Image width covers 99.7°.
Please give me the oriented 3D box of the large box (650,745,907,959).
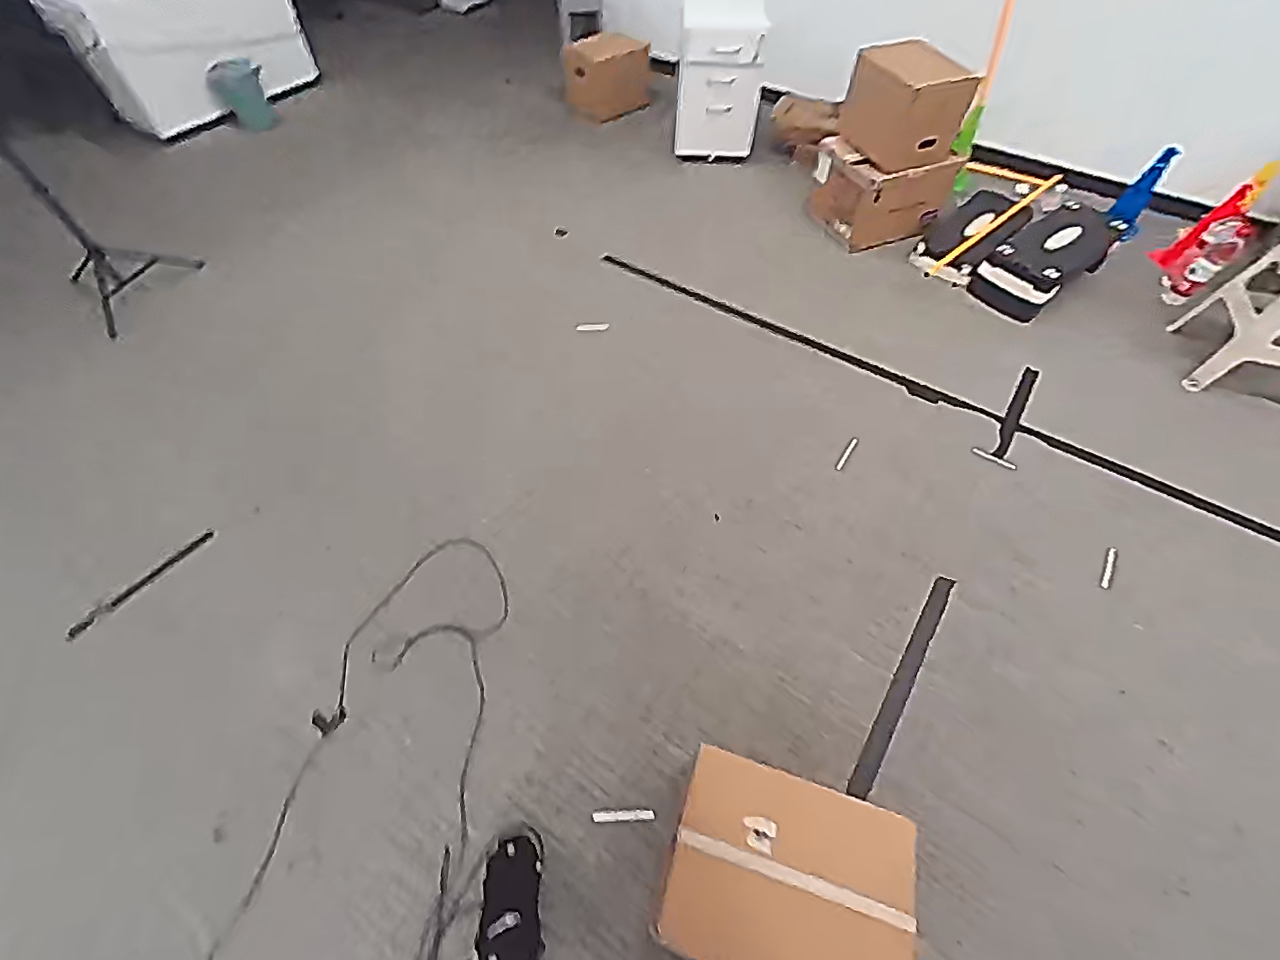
[{"bbox_3d":[0.254,0.766,1.058,0.408,0.320,0.320,15,56,10],"label":"large box"}]
